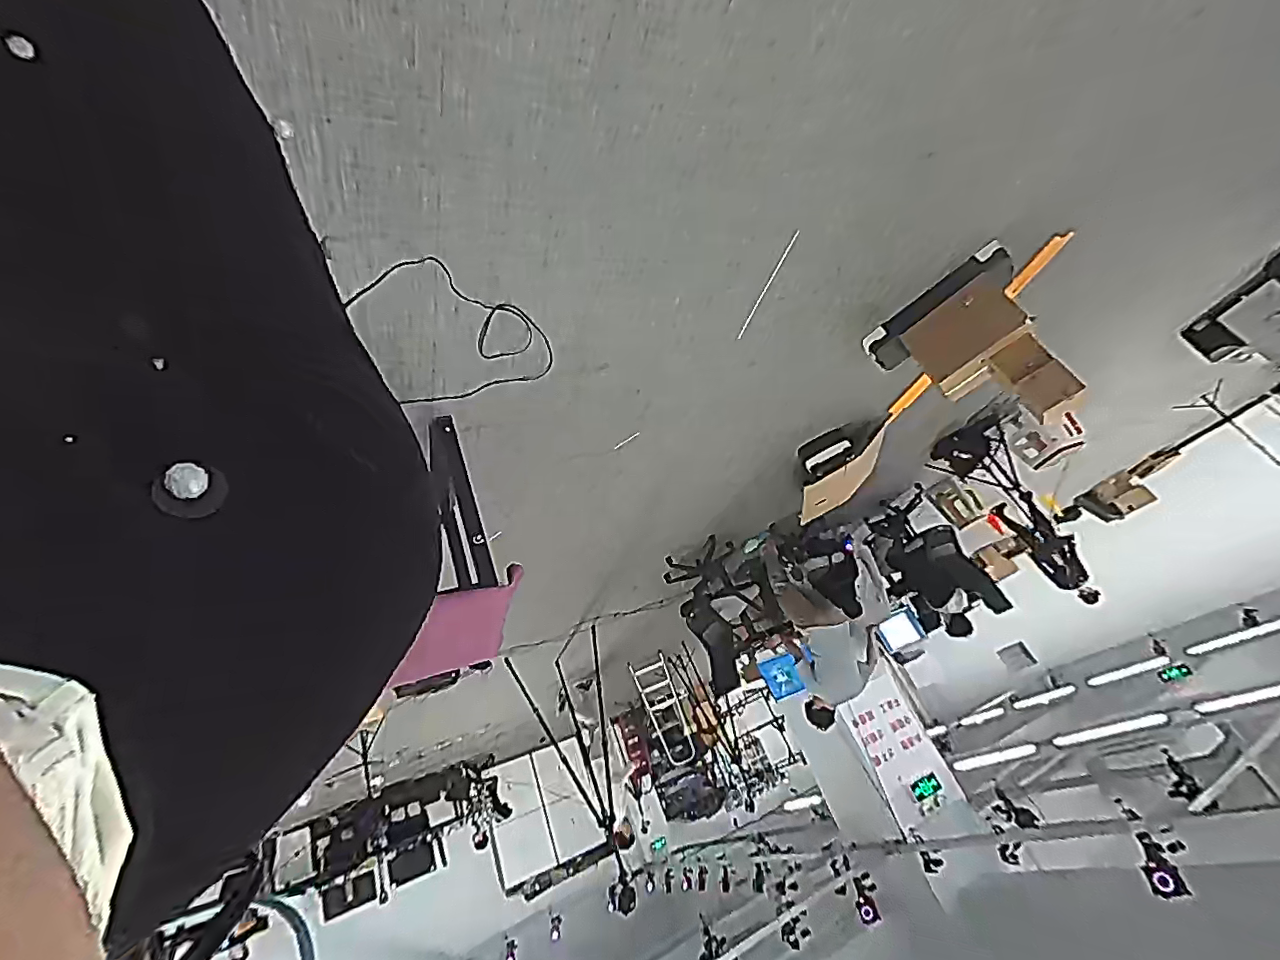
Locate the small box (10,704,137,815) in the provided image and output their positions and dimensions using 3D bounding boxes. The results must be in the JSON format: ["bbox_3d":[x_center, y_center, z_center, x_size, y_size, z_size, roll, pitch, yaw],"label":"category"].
[{"bbox_3d":[-1.334,0.661,1.288,0.179,0.176,0.168,-4,147,-36],"label":"small box"}]

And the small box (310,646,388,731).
[{"bbox_3d":[-0.841,0.598,1.565,0.168,0.176,0.179,-11,151,-24],"label":"small box"}]
